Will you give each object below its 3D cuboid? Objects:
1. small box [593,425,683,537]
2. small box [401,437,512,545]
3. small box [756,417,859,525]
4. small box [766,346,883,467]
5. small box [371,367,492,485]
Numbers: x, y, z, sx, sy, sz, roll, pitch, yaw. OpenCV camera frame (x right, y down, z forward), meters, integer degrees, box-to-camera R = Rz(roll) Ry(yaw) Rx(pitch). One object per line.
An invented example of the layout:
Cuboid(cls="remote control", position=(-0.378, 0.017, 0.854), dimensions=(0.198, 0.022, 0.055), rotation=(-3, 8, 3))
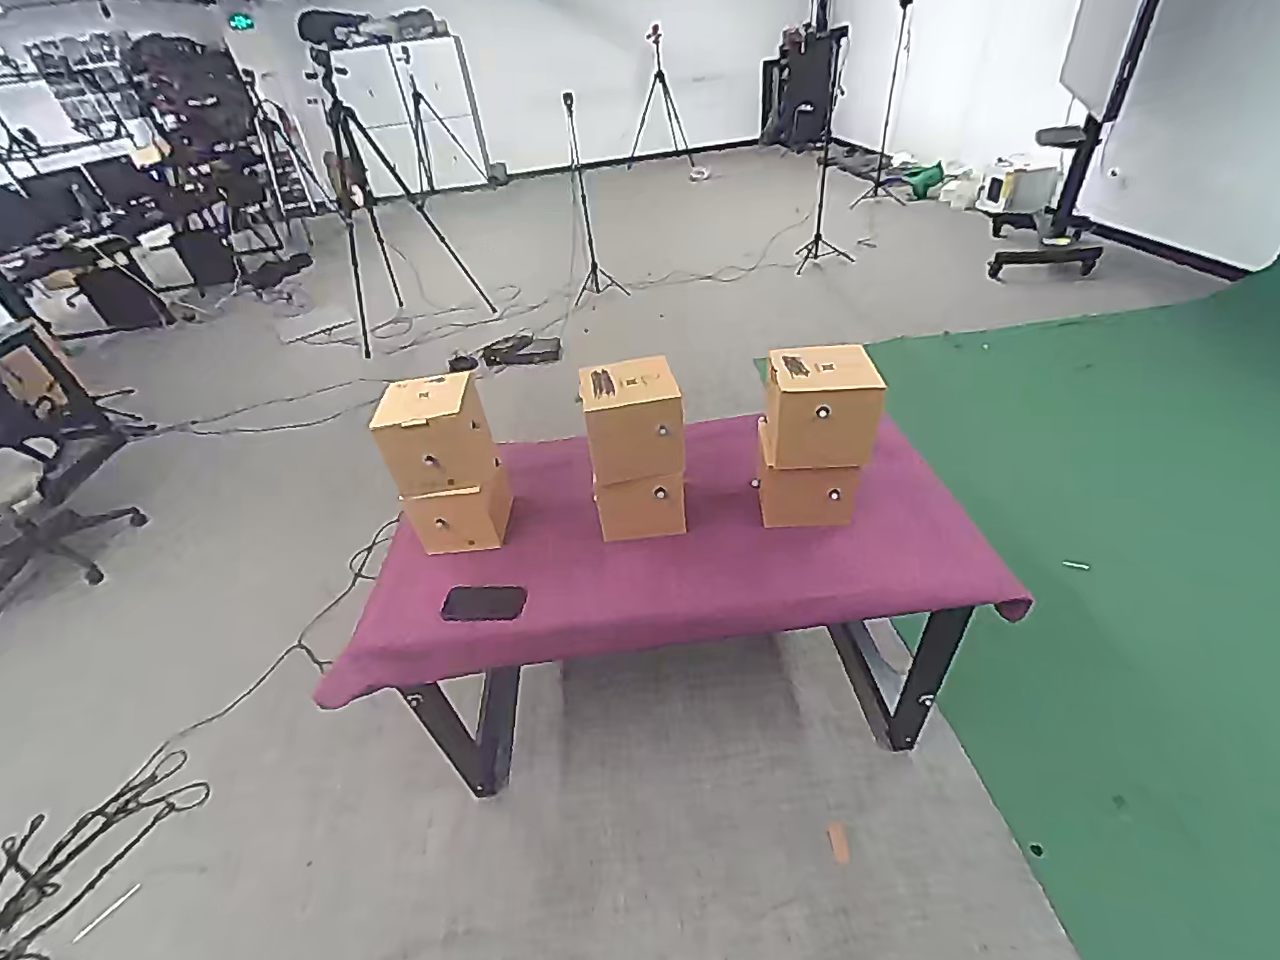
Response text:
Cuboid(cls="small box", position=(0.000, 0.004, 1.152), dimensions=(0.179, 0.176, 0.168), rotation=(-6, 39, 2))
Cuboid(cls="small box", position=(-0.389, 0.029, 1.185), dimensions=(0.168, 0.176, 0.179), rotation=(-5, 39, 3))
Cuboid(cls="small box", position=(0.339, -0.019, 1.129), dimensions=(0.179, 0.176, 0.168), rotation=(-2, 39, 8))
Cuboid(cls="small box", position=(0.332, -0.136, 1.014), dimensions=(0.179, 0.176, 0.168), rotation=(-1, 39, 6))
Cuboid(cls="small box", position=(-0.406, -0.103, 1.088), dimensions=(0.168, 0.176, 0.179), rotation=(-8, 40, -2))
